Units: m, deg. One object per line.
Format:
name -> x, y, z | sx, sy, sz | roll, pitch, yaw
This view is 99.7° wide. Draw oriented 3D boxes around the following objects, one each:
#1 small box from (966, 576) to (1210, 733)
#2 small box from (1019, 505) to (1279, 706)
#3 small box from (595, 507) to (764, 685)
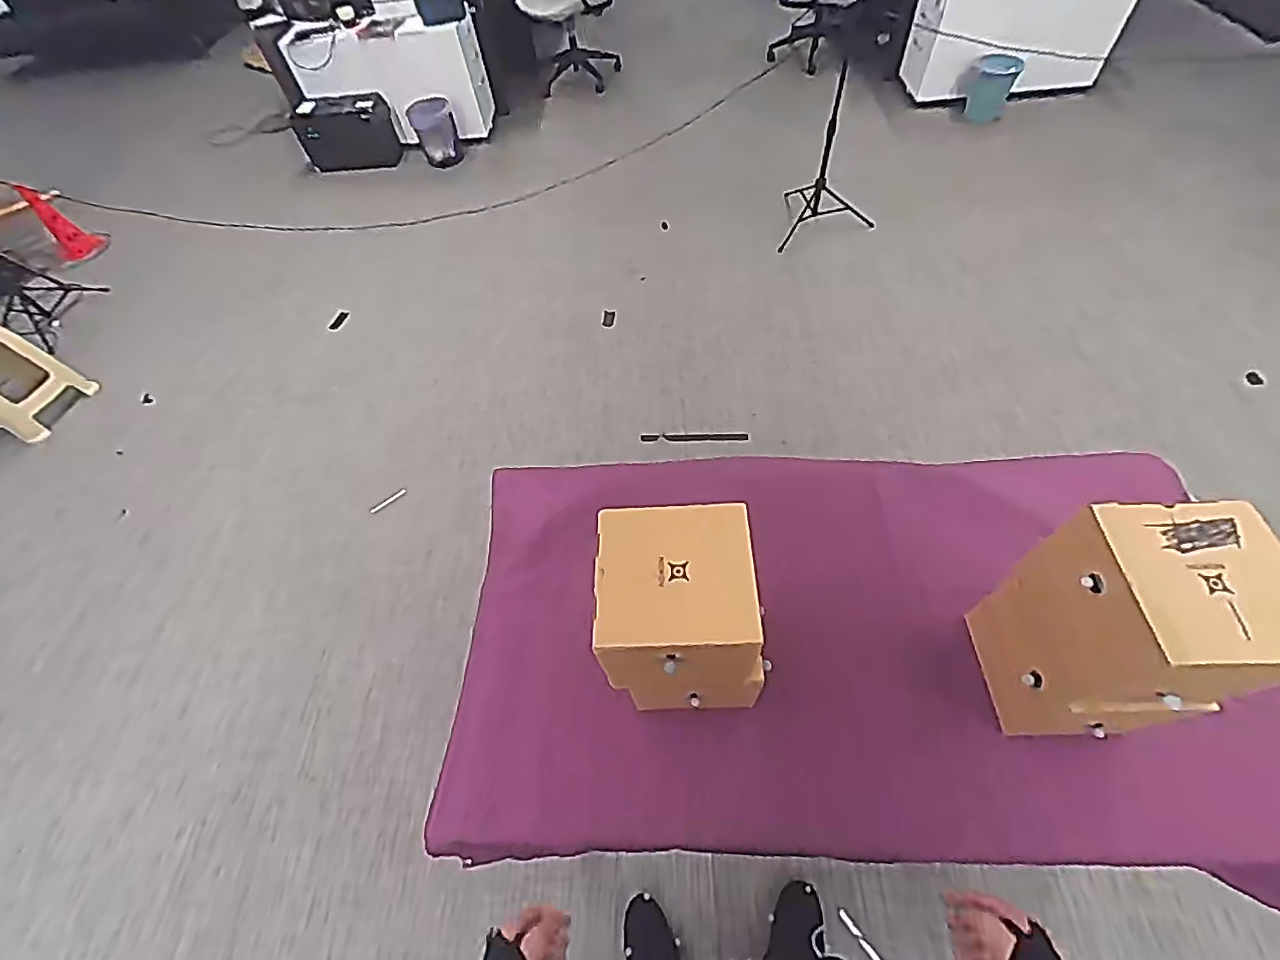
small box -> 0.588, 0.244, 0.743 | 0.168, 0.176, 0.179 | -2, 56, 4
small box -> 0.576, 0.145, 0.612 | 0.168, 0.176, 0.179 | -2, 57, 5
small box -> 0.047, 0.147, 0.661 | 0.179, 0.176, 0.168 | -4, 57, 5
